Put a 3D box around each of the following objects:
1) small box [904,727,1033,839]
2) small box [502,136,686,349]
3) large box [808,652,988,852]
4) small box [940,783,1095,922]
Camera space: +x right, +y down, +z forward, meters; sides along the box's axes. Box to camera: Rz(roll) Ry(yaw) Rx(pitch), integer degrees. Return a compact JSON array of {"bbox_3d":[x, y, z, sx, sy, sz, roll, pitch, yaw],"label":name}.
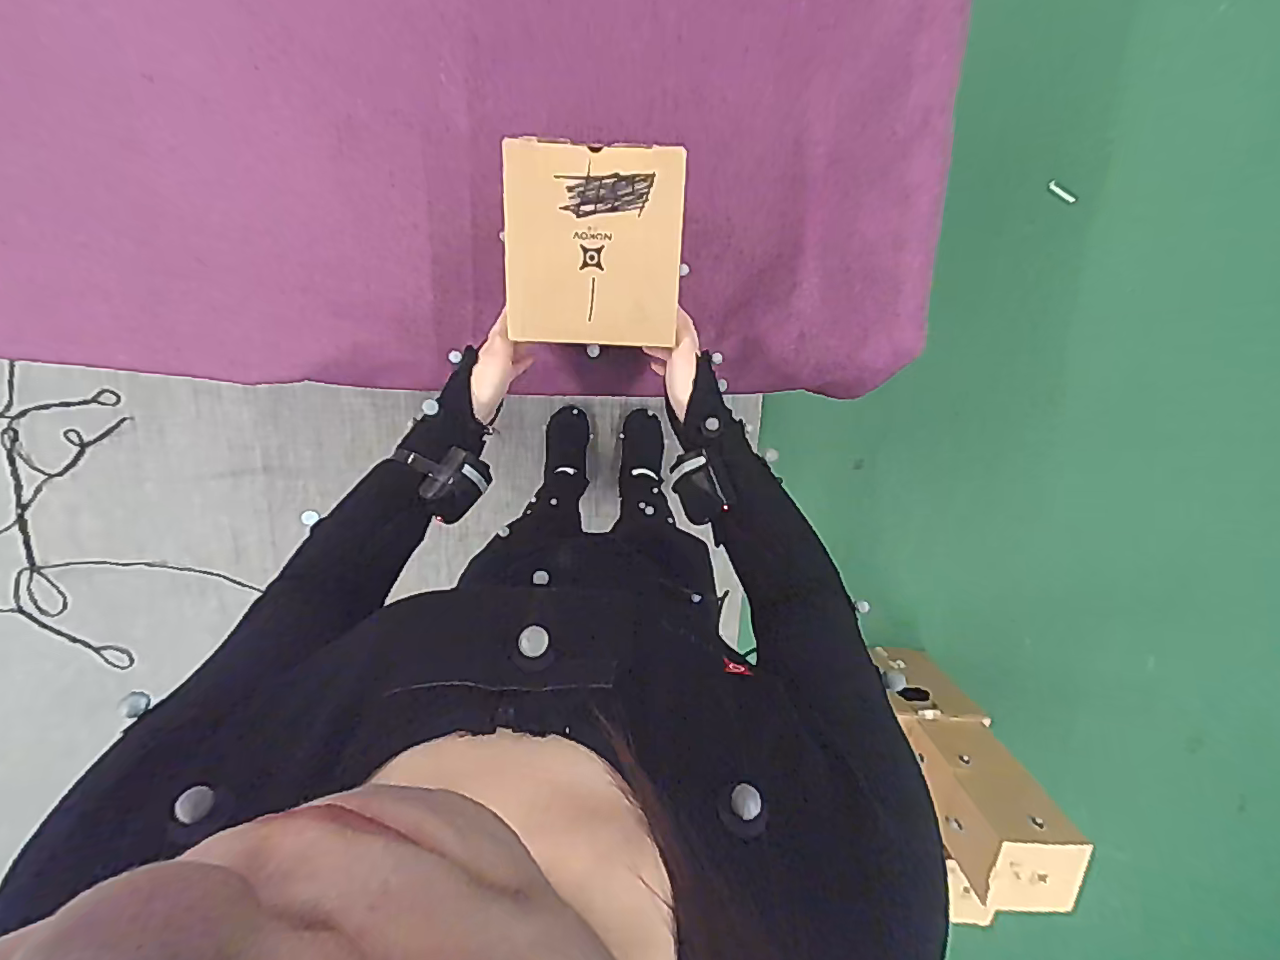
[{"bbox_3d":[0.745,0.696,1.244,0.179,0.176,0.168,4,105,-1],"label":"small box"},{"bbox_3d":[-0.047,-0.233,0.571,0.168,0.176,0.179,2,106,-1],"label":"small box"},{"bbox_3d":[0.685,0.737,1.503,0.320,0.320,0.408,4,105,-1],"label":"large box"},{"bbox_3d":[0.744,0.738,1.085,0.179,0.176,0.168,3,104,-1],"label":"small box"}]
